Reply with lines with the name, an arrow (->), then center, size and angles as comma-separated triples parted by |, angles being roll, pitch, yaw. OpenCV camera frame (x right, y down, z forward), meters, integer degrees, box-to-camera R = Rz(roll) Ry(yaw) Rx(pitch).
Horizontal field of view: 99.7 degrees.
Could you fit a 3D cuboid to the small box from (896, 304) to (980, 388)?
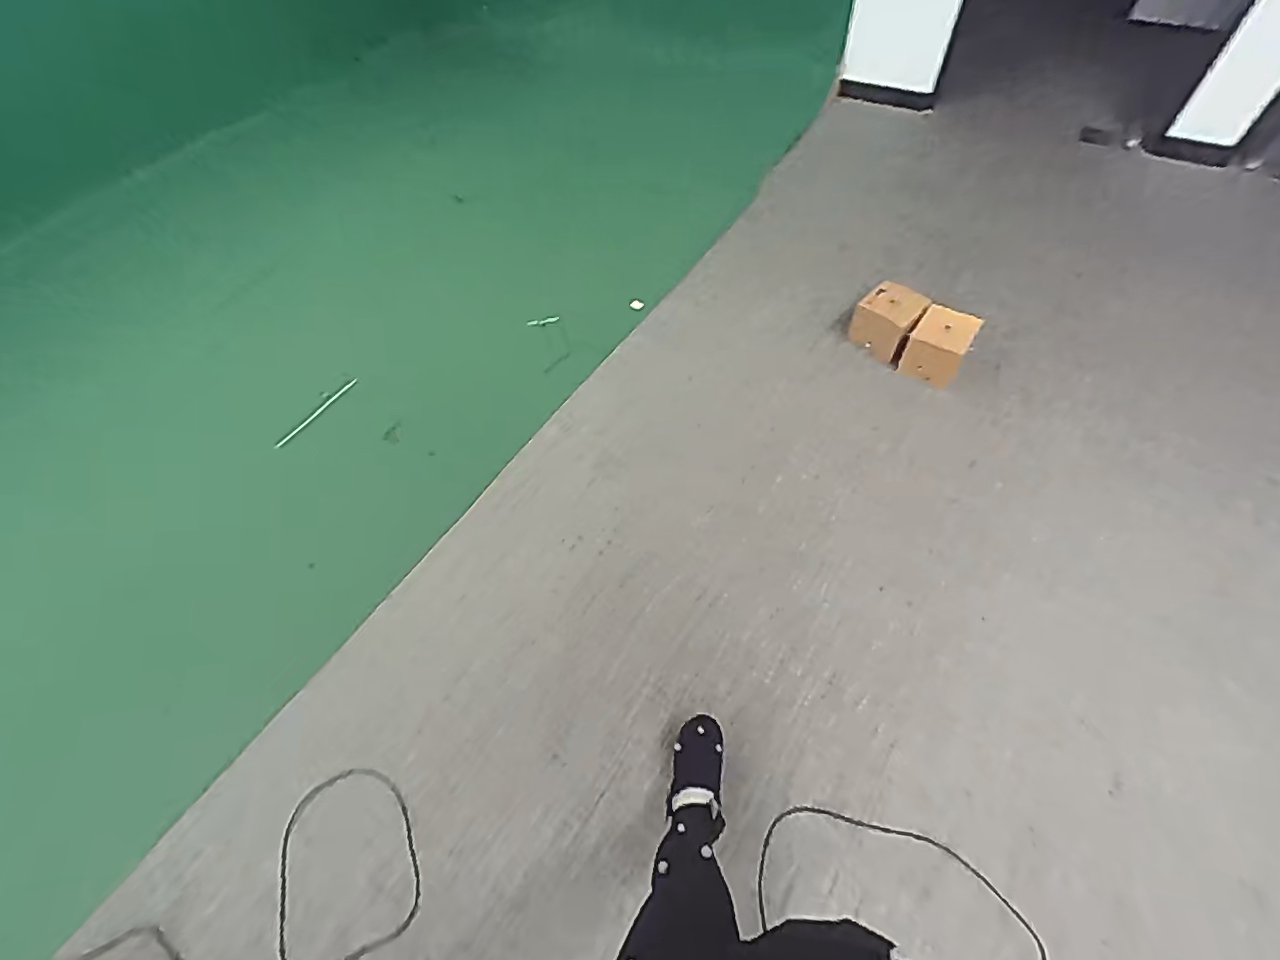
small box -> 0.973, -0.440, 1.781 | 0.168, 0.176, 0.179 | 29, 67, 22
